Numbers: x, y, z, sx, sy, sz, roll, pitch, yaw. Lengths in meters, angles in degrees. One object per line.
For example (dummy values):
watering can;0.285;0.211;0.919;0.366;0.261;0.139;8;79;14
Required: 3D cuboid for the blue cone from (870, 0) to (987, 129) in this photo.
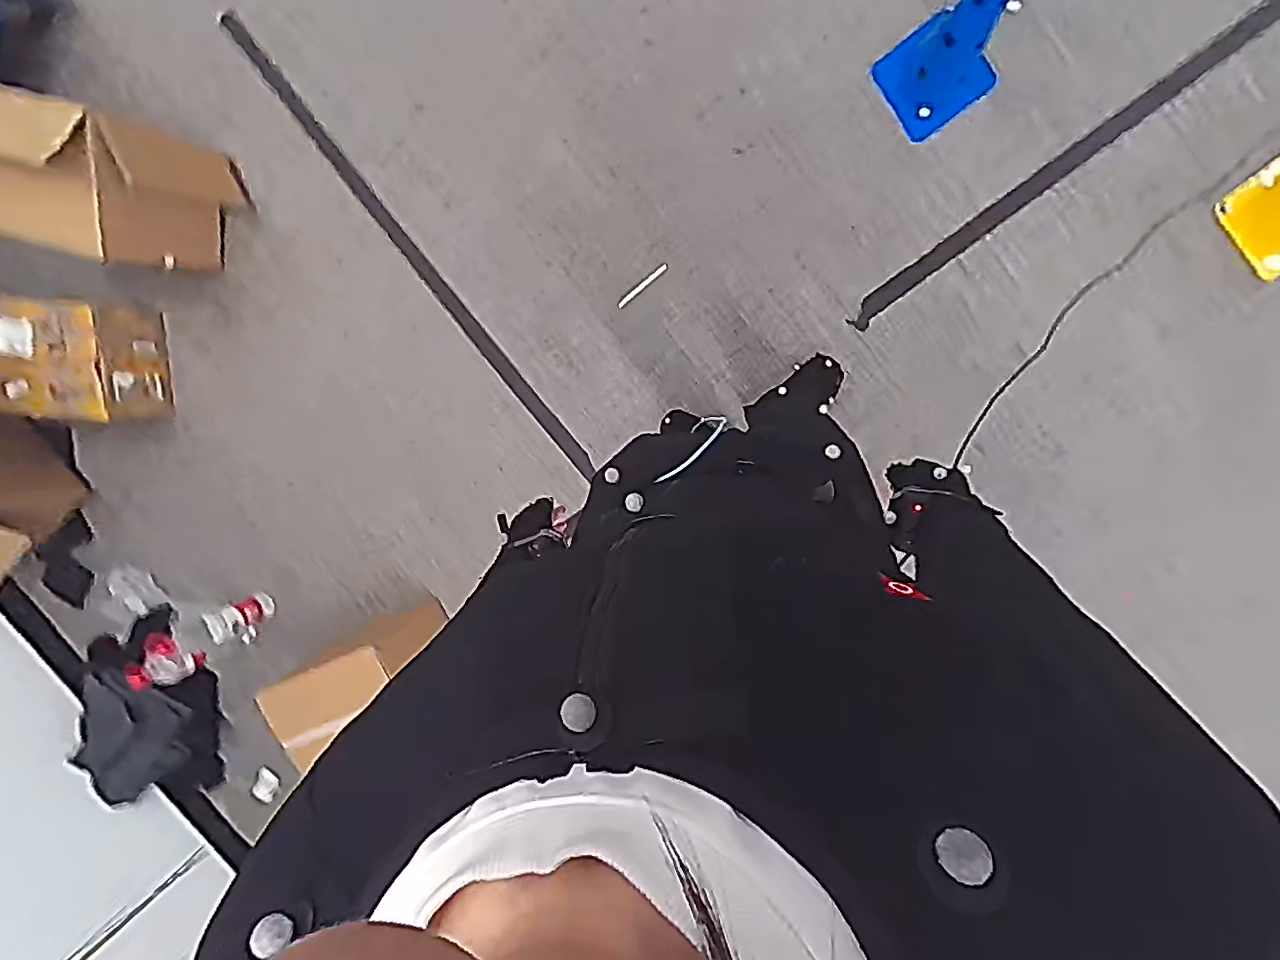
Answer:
blue cone;0.593;-0.858;1.010;0.193;0.380;0.192;-33;94;14
